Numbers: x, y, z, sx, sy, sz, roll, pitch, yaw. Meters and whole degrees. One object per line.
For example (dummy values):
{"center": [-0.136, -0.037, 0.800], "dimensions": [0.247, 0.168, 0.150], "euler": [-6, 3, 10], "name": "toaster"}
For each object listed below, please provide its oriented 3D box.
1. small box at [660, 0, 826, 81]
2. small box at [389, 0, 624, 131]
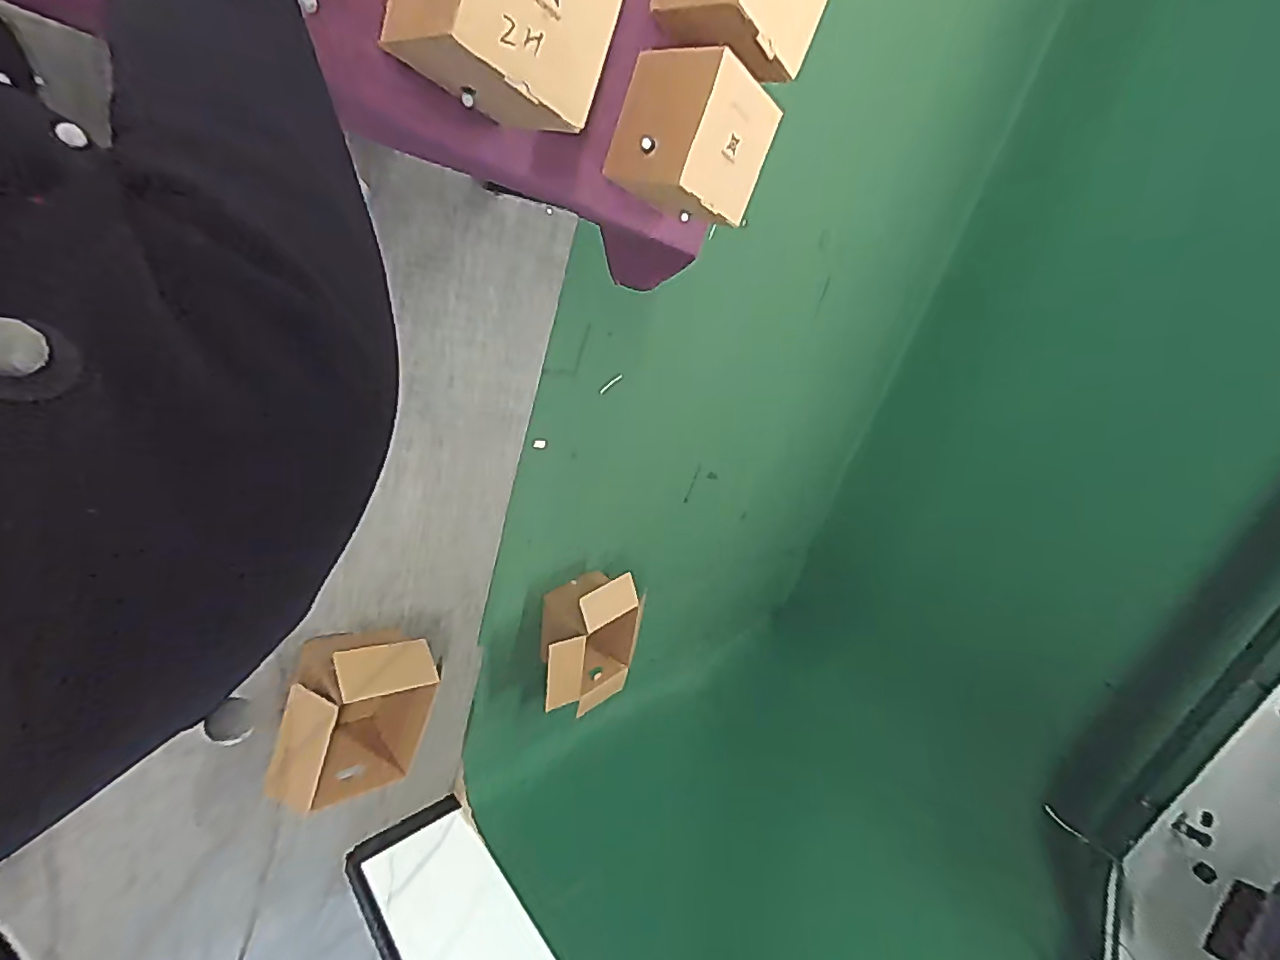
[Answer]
{"center": [0.150, -0.708, 0.765], "dimensions": [0.168, 0.176, 0.179], "euler": [5, 113, -51], "name": "small box"}
{"center": [-0.142, -0.510, 0.576], "dimensions": [0.168, 0.176, 0.179], "euler": [3, 113, -50], "name": "small box"}
